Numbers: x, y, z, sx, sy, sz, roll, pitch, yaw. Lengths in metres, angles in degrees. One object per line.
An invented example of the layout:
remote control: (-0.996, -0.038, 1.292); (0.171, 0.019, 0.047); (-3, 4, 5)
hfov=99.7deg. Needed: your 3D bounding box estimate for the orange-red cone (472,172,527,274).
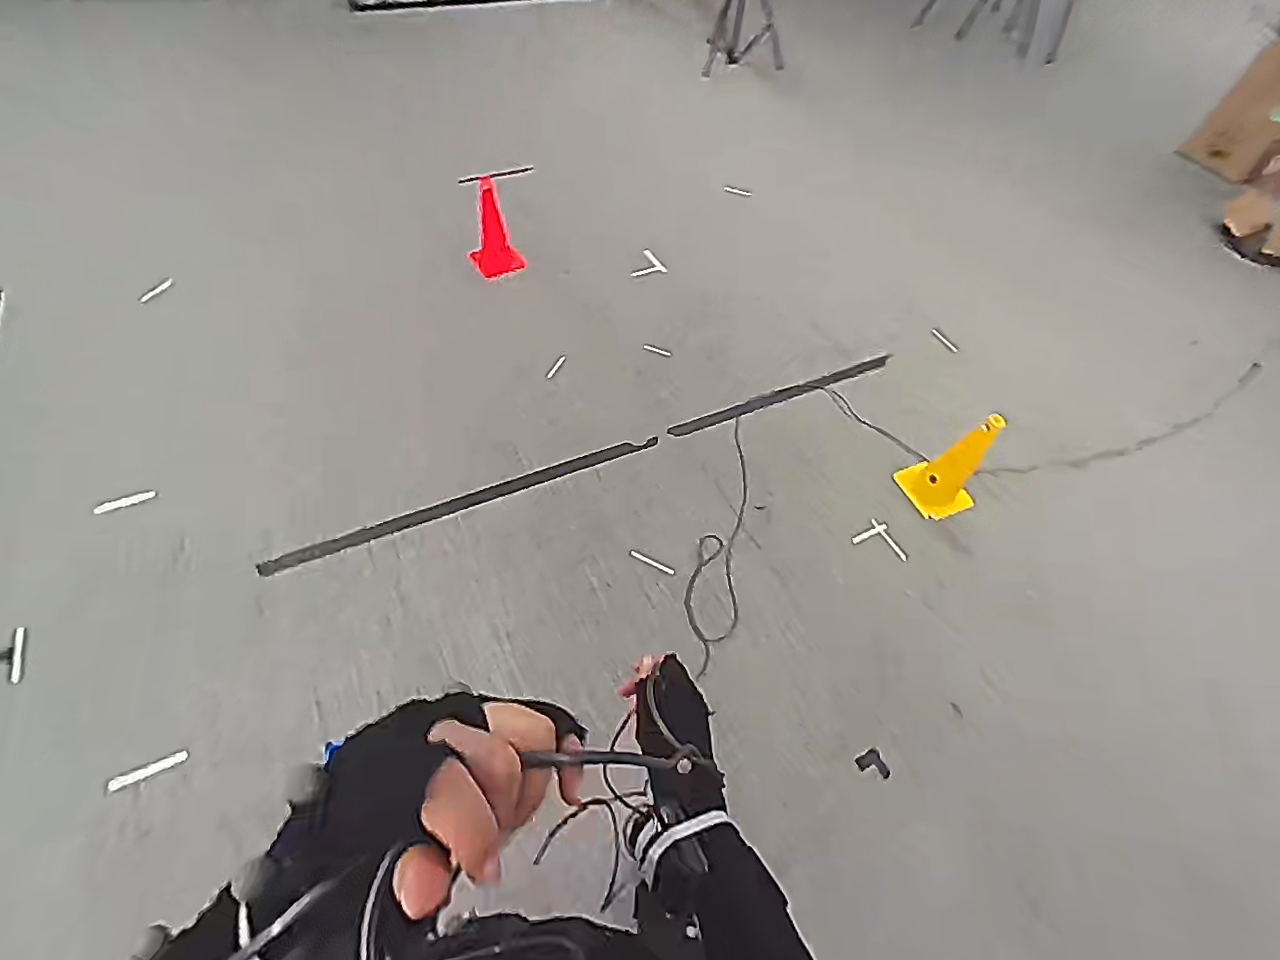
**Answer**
orange-red cone: (-0.598, -1.059, 2.191); (0.199, 0.360, 0.198); (-25, 61, -18)
